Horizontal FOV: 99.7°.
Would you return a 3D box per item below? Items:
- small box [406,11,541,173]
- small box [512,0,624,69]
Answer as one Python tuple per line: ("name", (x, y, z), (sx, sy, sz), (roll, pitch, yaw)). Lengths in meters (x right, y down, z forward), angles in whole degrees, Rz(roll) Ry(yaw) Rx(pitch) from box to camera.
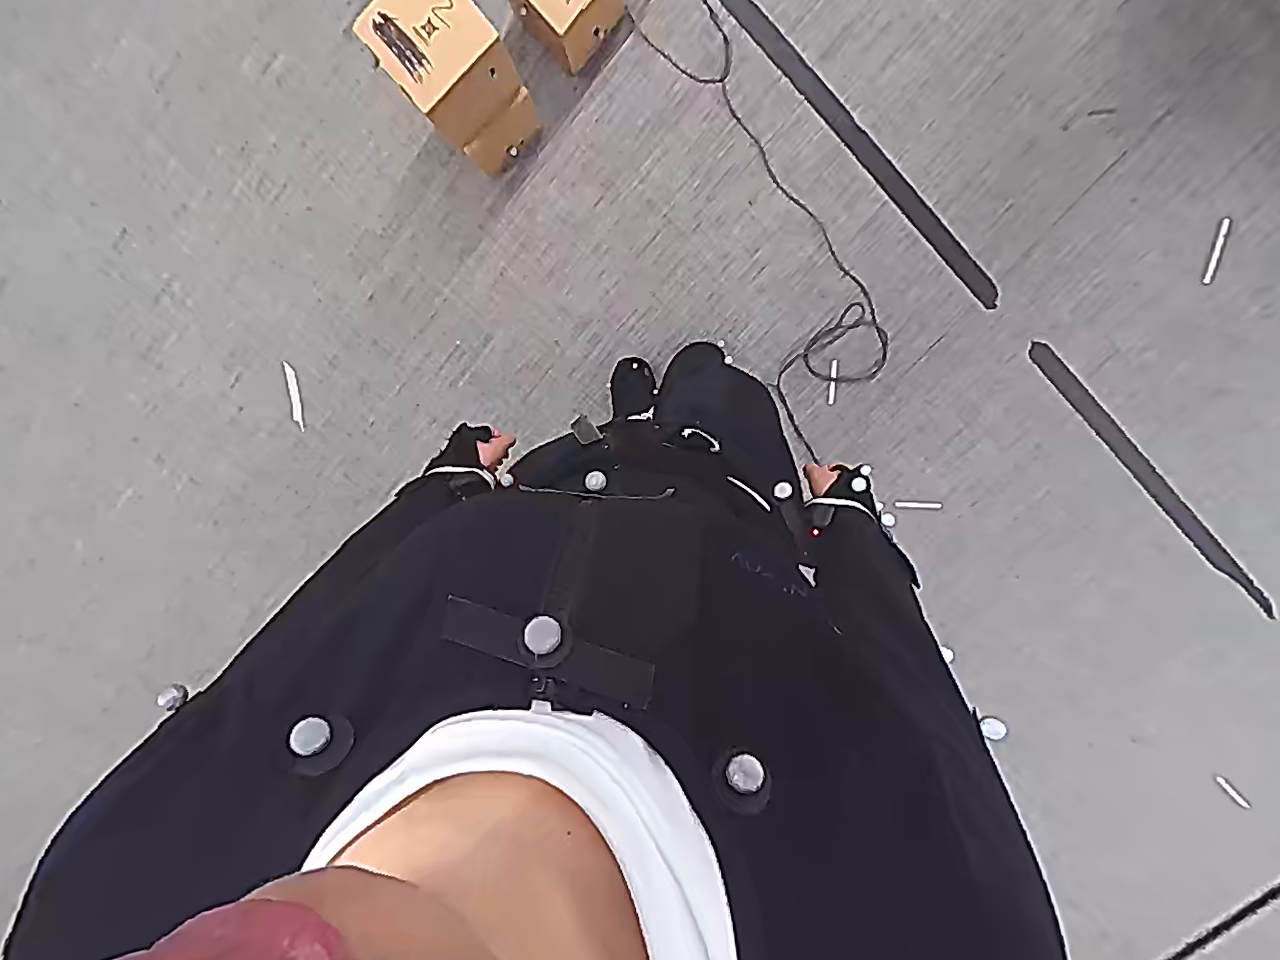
("small box", (-0.325, -0.765, 1.091), (0.168, 0.176, 0.179), (-39, 102, 10))
("small box", (-0.147, -0.956, 1.043), (0.179, 0.176, 0.168), (43, 102, -10))
